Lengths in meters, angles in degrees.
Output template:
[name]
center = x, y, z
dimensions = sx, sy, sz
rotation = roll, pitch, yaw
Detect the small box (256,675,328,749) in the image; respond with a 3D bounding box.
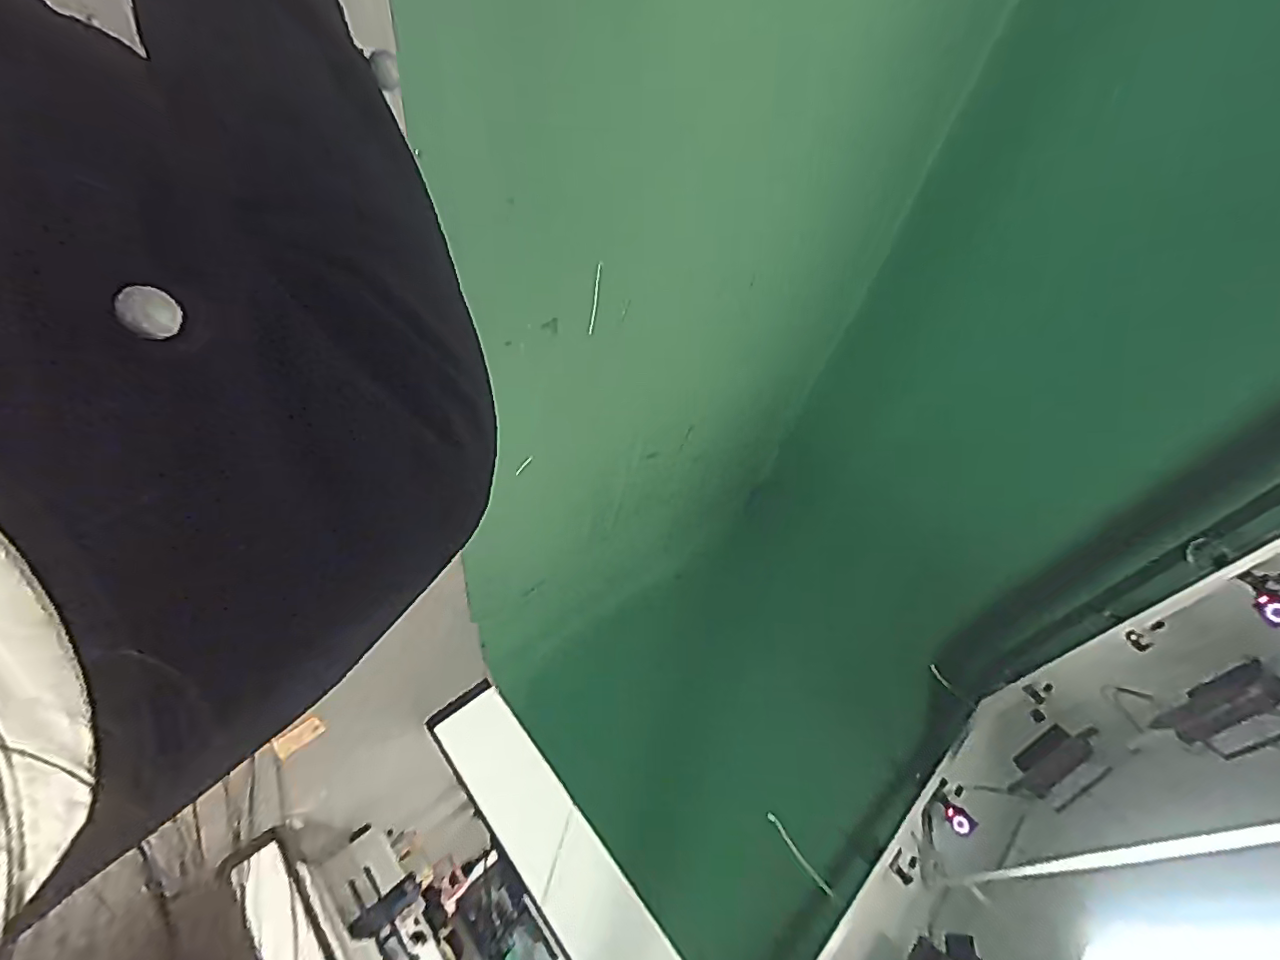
[small box]
center = -1.366, 0.904, 2.115
dimensions = 0.179, 0.176, 0.168
rotation = -31, 151, -31
